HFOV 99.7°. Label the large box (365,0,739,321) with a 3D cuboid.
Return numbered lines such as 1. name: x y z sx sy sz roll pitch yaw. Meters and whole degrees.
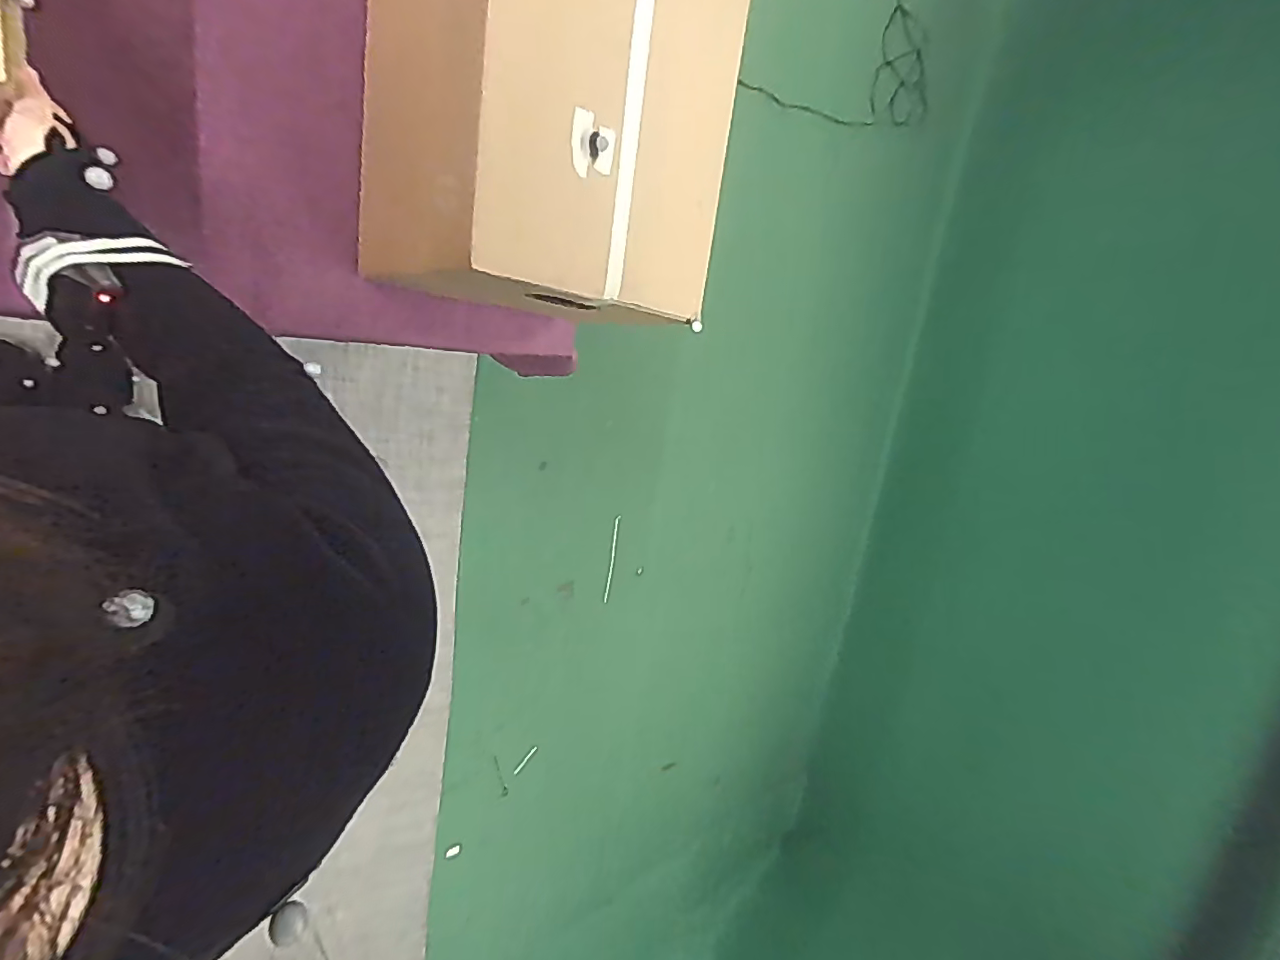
1. large box: -0.118 -0.427 0.654 0.320 0.320 0.408 -4 107 -44
